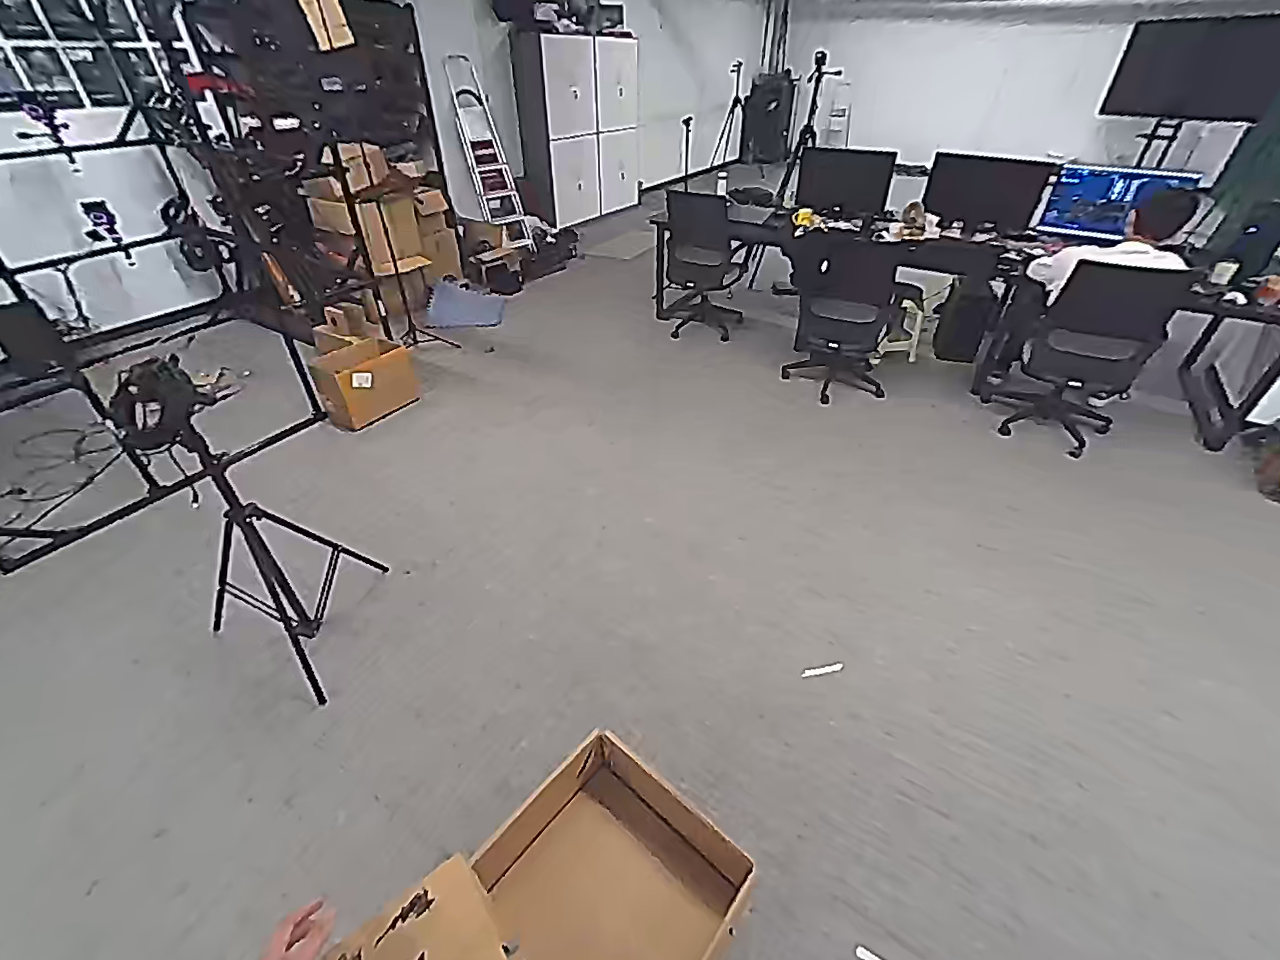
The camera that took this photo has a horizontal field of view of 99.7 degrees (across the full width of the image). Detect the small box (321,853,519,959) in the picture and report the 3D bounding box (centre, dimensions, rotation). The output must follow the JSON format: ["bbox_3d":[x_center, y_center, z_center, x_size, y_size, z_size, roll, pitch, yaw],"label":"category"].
[{"bbox_3d":[-0.230,0.588,0.621,0.168,0.176,0.179,-26,44,-28],"label":"small box"}]
